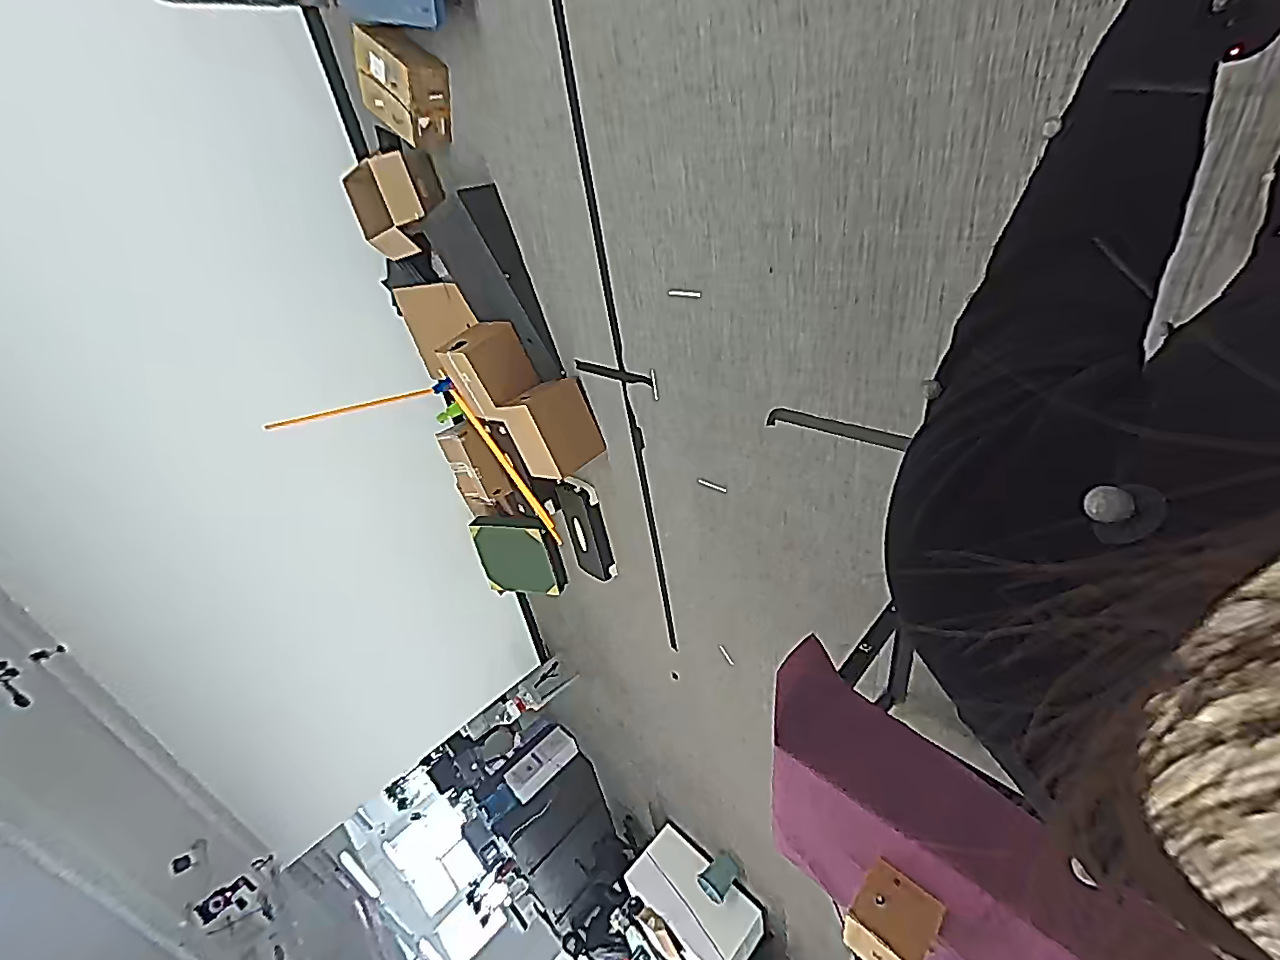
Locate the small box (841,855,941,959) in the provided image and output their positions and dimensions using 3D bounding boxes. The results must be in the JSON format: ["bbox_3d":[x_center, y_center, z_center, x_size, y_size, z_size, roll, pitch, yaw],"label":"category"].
[{"bbox_3d":[0.613,1.076,1.323,0.168,0.176,0.179,23,135,41],"label":"small box"}]
